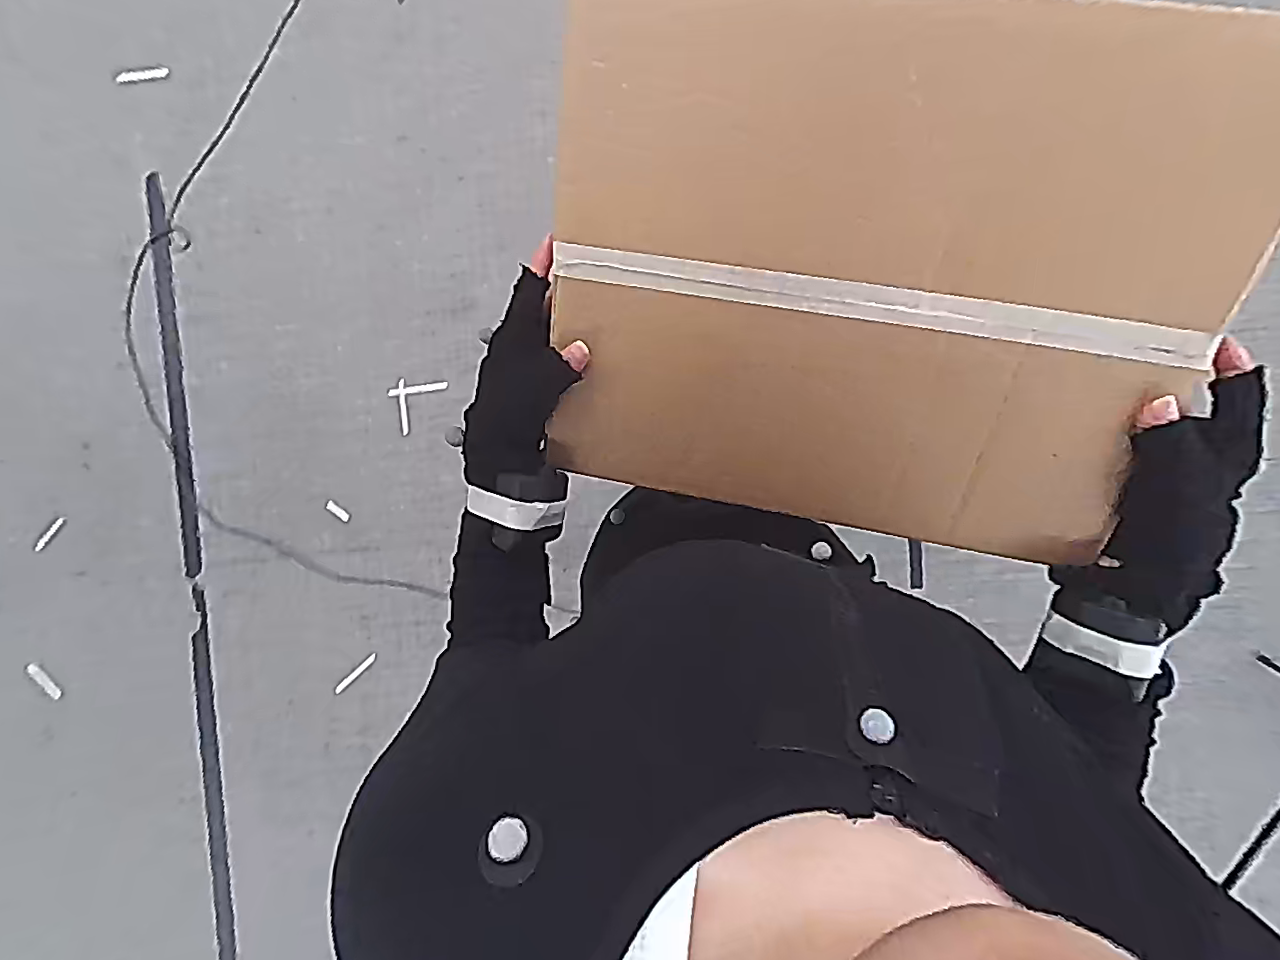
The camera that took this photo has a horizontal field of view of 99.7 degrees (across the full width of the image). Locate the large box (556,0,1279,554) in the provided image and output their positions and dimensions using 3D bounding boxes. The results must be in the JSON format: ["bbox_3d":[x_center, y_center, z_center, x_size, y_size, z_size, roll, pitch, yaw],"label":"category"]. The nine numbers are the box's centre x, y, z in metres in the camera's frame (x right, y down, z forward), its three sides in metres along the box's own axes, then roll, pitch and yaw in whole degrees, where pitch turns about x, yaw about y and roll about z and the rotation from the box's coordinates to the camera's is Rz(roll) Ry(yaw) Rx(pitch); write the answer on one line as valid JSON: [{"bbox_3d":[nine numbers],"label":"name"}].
[{"bbox_3d":[0.167,-0.177,0.484,0.408,0.320,0.320,12,117,6],"label":"large box"}]
